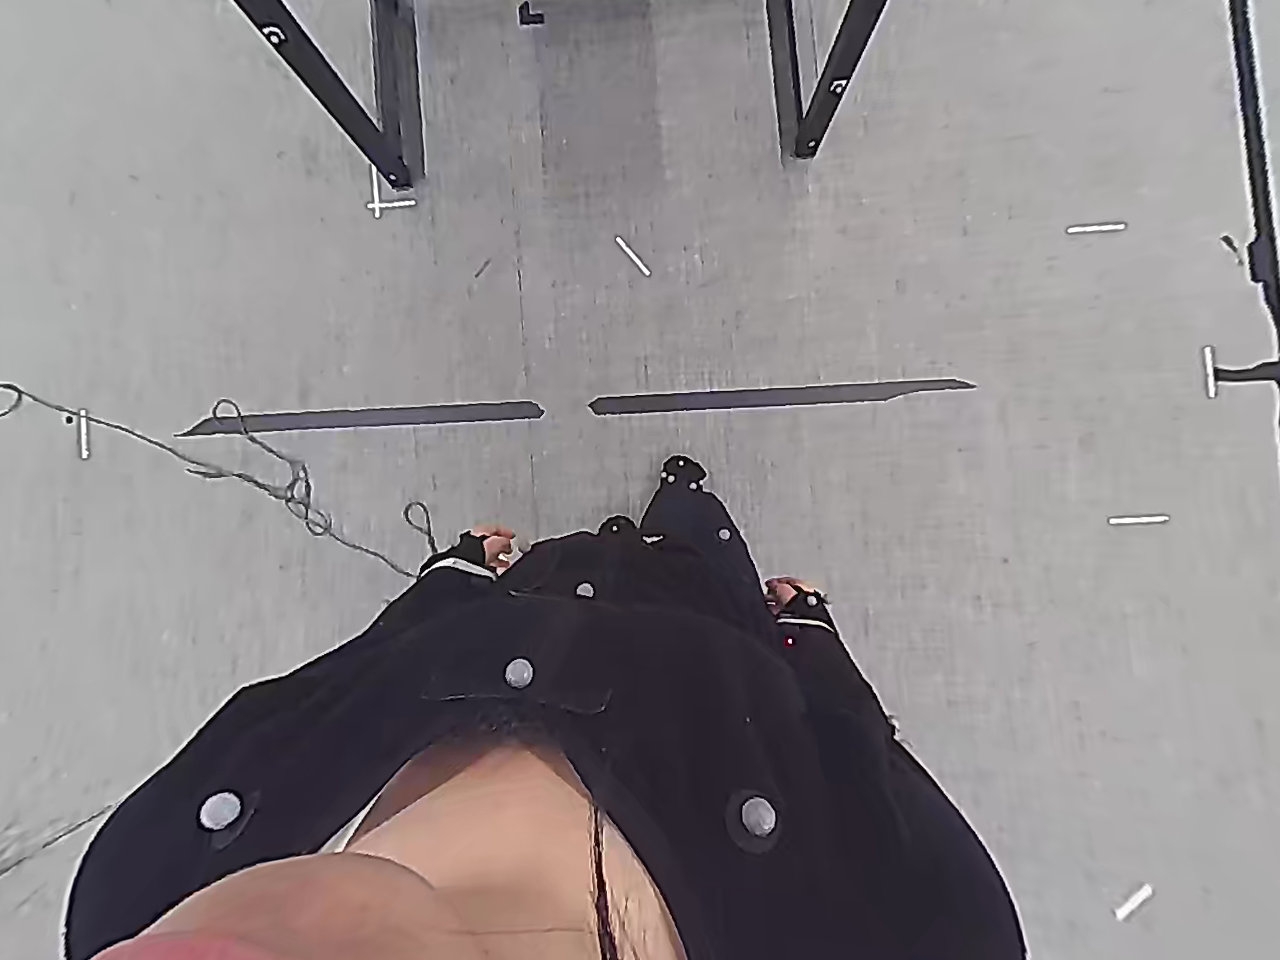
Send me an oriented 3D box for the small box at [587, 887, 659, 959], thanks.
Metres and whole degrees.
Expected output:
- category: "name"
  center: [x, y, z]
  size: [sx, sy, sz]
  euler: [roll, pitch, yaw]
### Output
- category: "small box"
  center: [-0.040, 1.171, 1.369]
  size: [0.168, 0.176, 0.179]
  euler: [-6, 89, 1]
